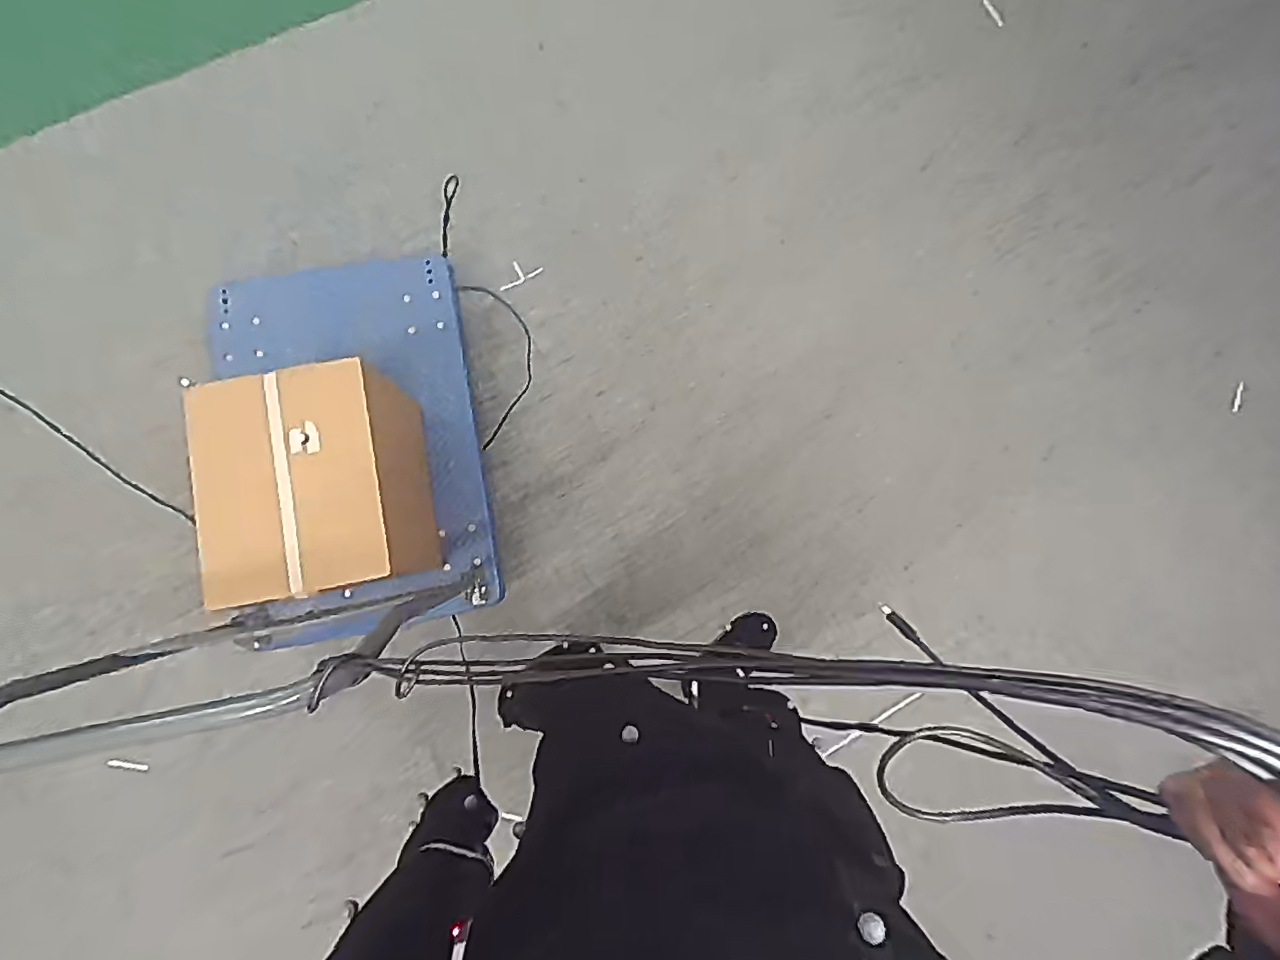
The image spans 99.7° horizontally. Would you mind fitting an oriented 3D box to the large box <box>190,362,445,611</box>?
[{"bbox_3d":[-0.625,0.026,1.103,0.320,0.320,0.408,-11,82,-5],"label":"large box"}]
